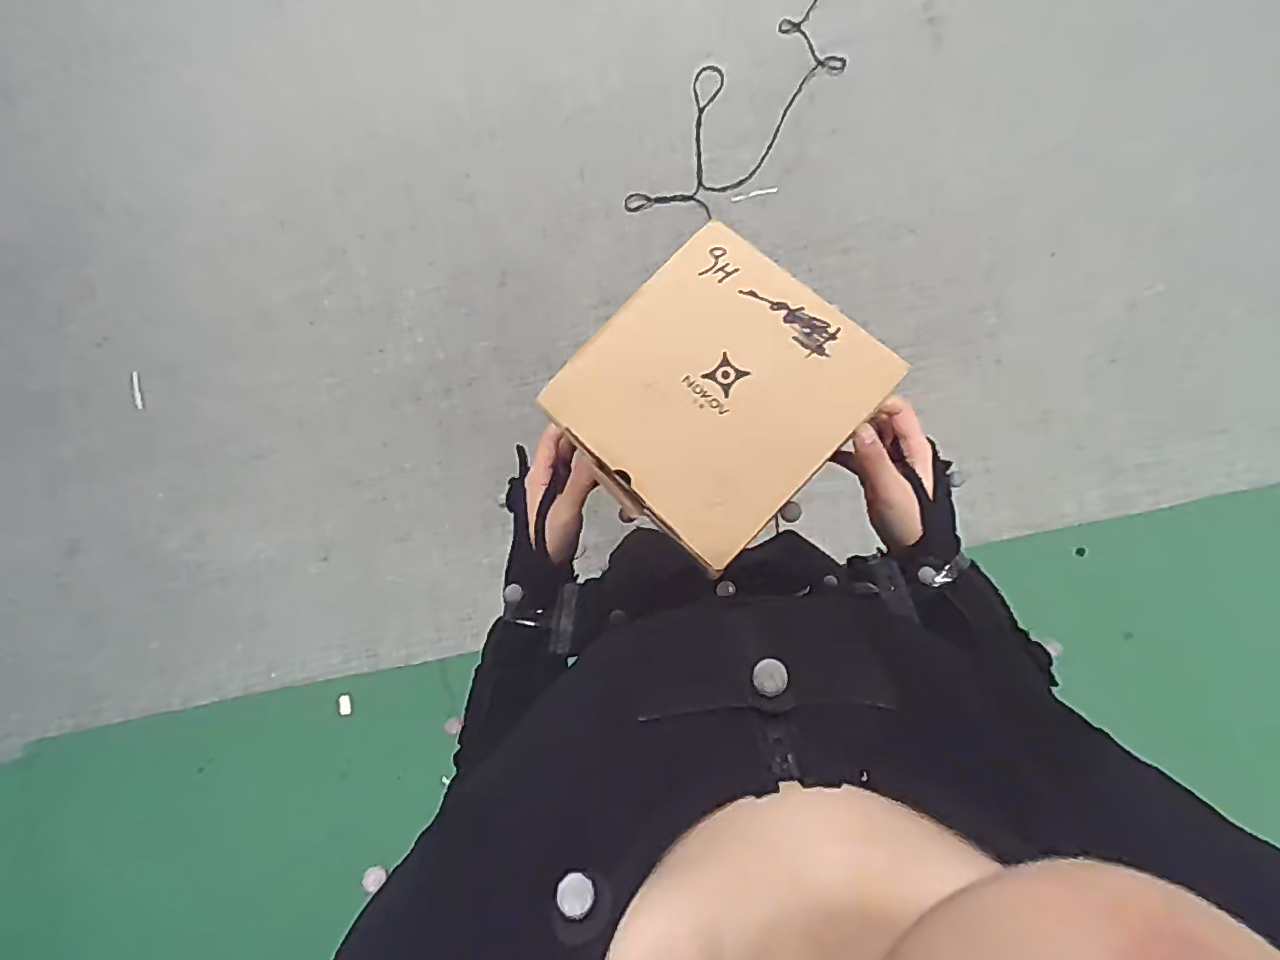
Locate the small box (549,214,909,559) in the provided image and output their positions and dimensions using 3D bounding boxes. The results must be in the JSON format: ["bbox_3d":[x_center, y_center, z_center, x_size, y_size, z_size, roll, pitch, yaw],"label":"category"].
[{"bbox_3d":[0.064,-0.053,0.426,0.168,0.176,0.179,44,90,12],"label":"small box"}]
